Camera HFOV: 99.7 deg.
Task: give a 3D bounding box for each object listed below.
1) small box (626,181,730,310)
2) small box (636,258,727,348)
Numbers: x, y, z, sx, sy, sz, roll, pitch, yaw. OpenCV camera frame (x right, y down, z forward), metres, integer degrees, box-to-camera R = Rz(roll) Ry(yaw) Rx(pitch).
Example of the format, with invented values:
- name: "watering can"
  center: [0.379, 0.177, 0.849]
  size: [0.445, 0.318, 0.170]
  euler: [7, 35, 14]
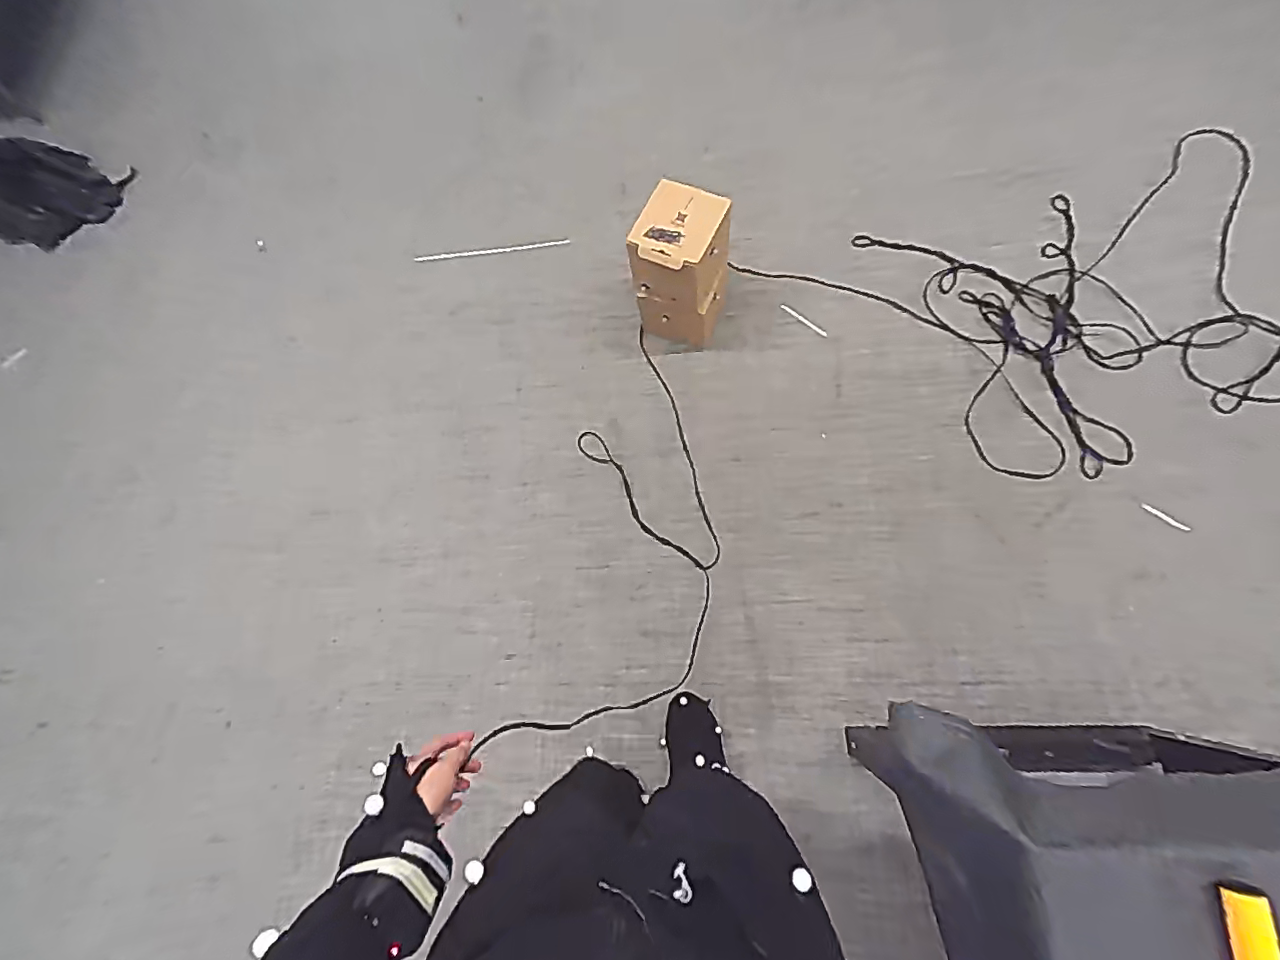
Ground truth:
- name: "small box"
  center: [0.089, -0.512, 1.201]
  size: [0.168, 0.176, 0.179]
  euler: [25, 78, 12]
- name: "small box"
  center: [0.108, -0.457, 1.355]
  size: [0.179, 0.176, 0.168]
  euler: [19, 77, 12]
